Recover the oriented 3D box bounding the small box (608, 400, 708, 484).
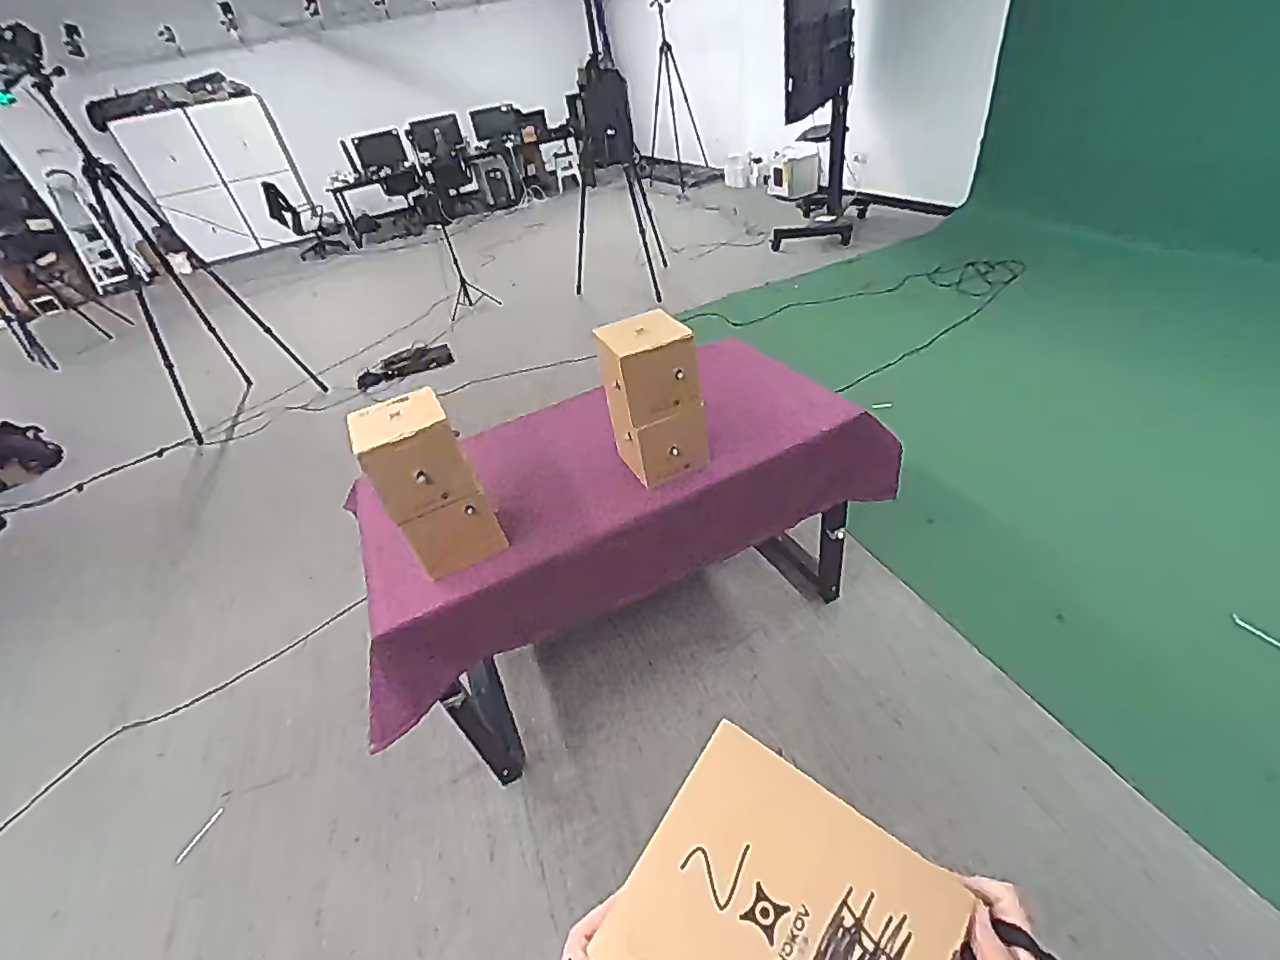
[{"bbox_3d":[0.046,-0.110,1.269,0.168,0.176,0.179,-23,38,-13],"label":"small box"}]

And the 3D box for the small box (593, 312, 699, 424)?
[{"bbox_3d":[0.016,-0.239,1.173,0.168,0.176,0.179,-22,38,-12],"label":"small box"}]

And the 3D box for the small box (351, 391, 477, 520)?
[{"bbox_3d":[-0.437,-0.044,1.055,0.168,0.176,0.179,-24,39,-17],"label":"small box"}]

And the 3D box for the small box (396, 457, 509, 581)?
[{"bbox_3d":[-0.403,0.084,1.153,0.179,0.176,0.168,-24,39,-16],"label":"small box"}]
